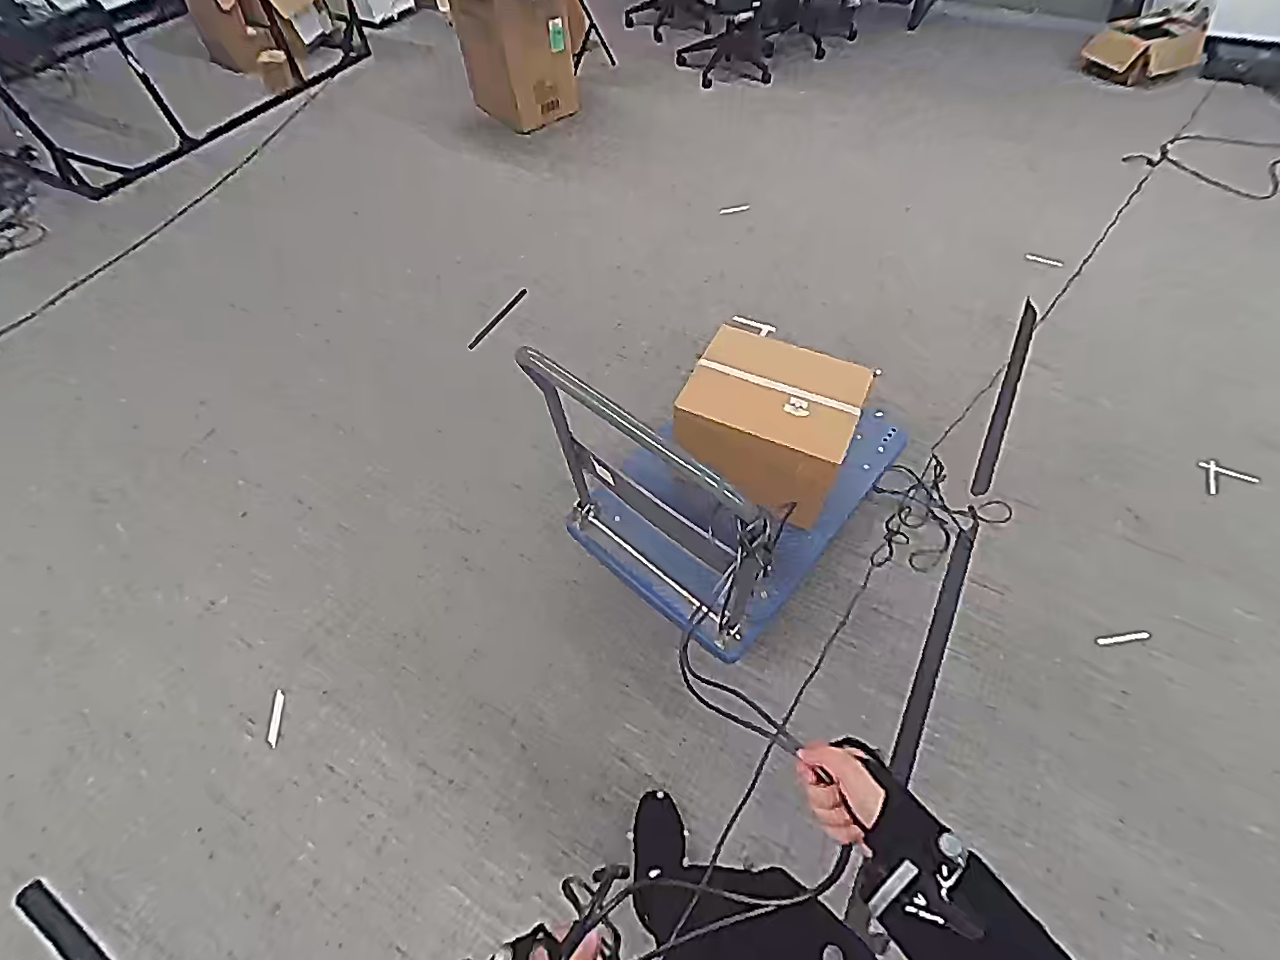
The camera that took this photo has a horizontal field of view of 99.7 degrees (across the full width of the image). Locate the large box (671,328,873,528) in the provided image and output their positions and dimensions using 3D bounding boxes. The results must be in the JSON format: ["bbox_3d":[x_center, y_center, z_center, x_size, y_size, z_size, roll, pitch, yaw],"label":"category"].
[{"bbox_3d":[0.324,-0.134,1.413,0.408,0.320,0.320,22,62,15],"label":"large box"}]
